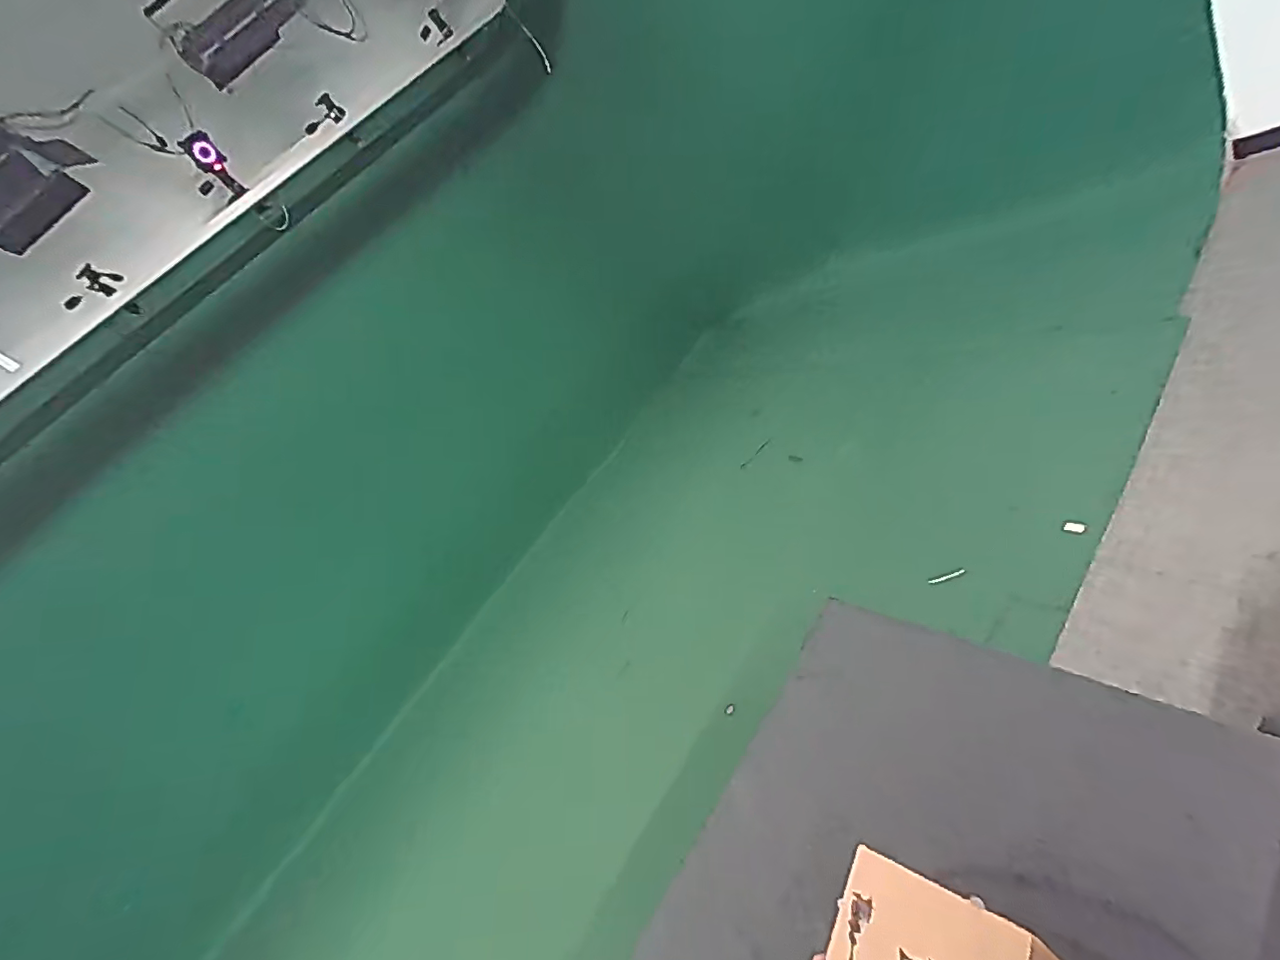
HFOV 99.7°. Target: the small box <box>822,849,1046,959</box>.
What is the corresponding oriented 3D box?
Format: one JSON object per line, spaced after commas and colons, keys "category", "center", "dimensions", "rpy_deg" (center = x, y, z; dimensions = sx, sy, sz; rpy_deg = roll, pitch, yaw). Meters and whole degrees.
{"category": "small box", "center": [0.312, 0.534, 0.561], "dimensions": [0.179, 0.176, 0.168], "rpy_deg": [-2, 47, 50]}
